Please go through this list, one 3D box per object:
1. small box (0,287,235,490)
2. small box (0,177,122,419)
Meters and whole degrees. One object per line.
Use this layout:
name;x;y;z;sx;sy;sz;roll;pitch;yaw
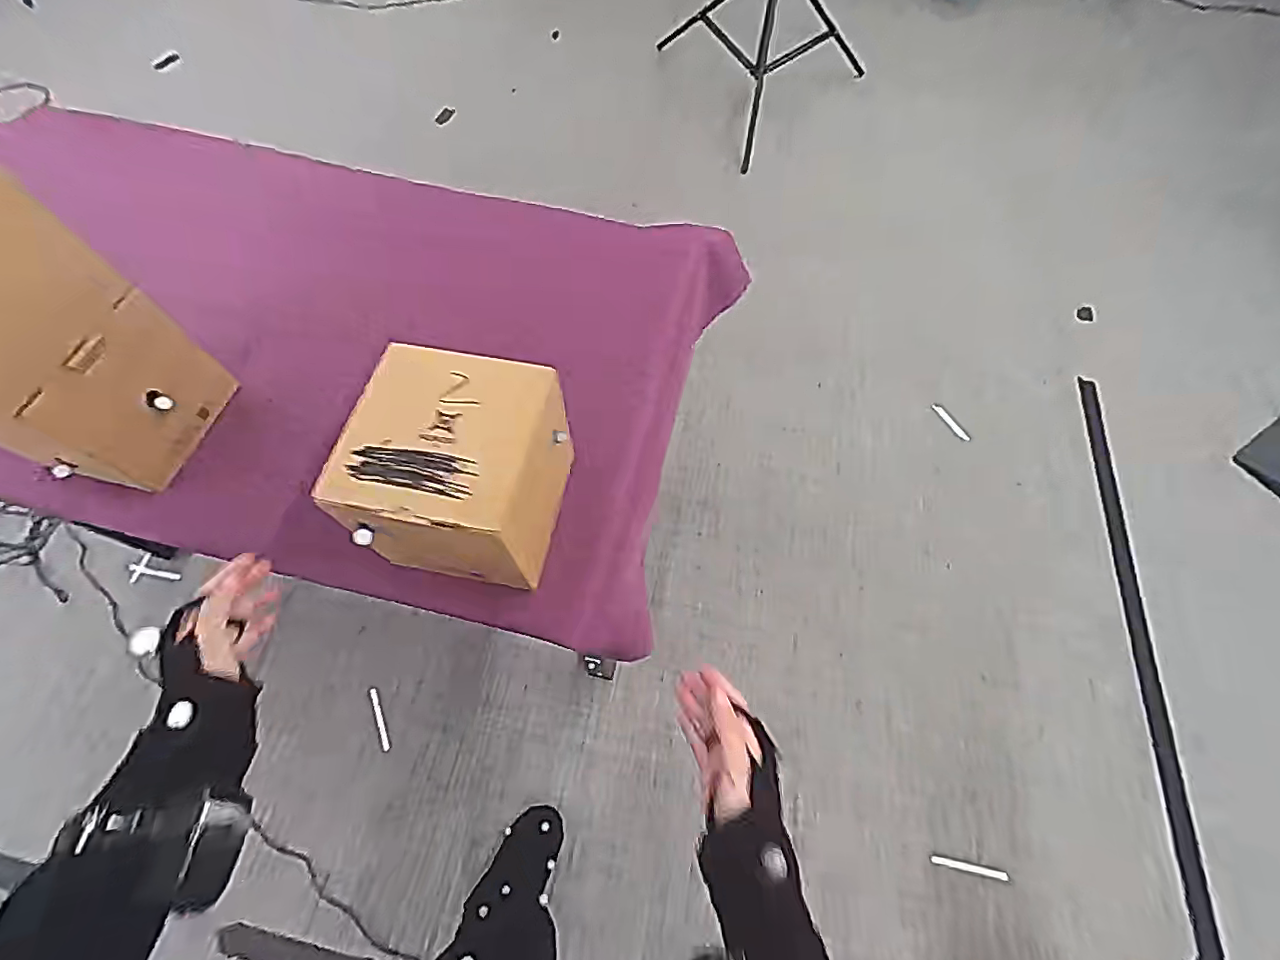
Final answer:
small box;-0.606;-0.104;0.591;0.179;0.176;0.168;13;64;5
small box;-0.601;-0.171;0.439;0.168;0.176;0.179;13;64;6
